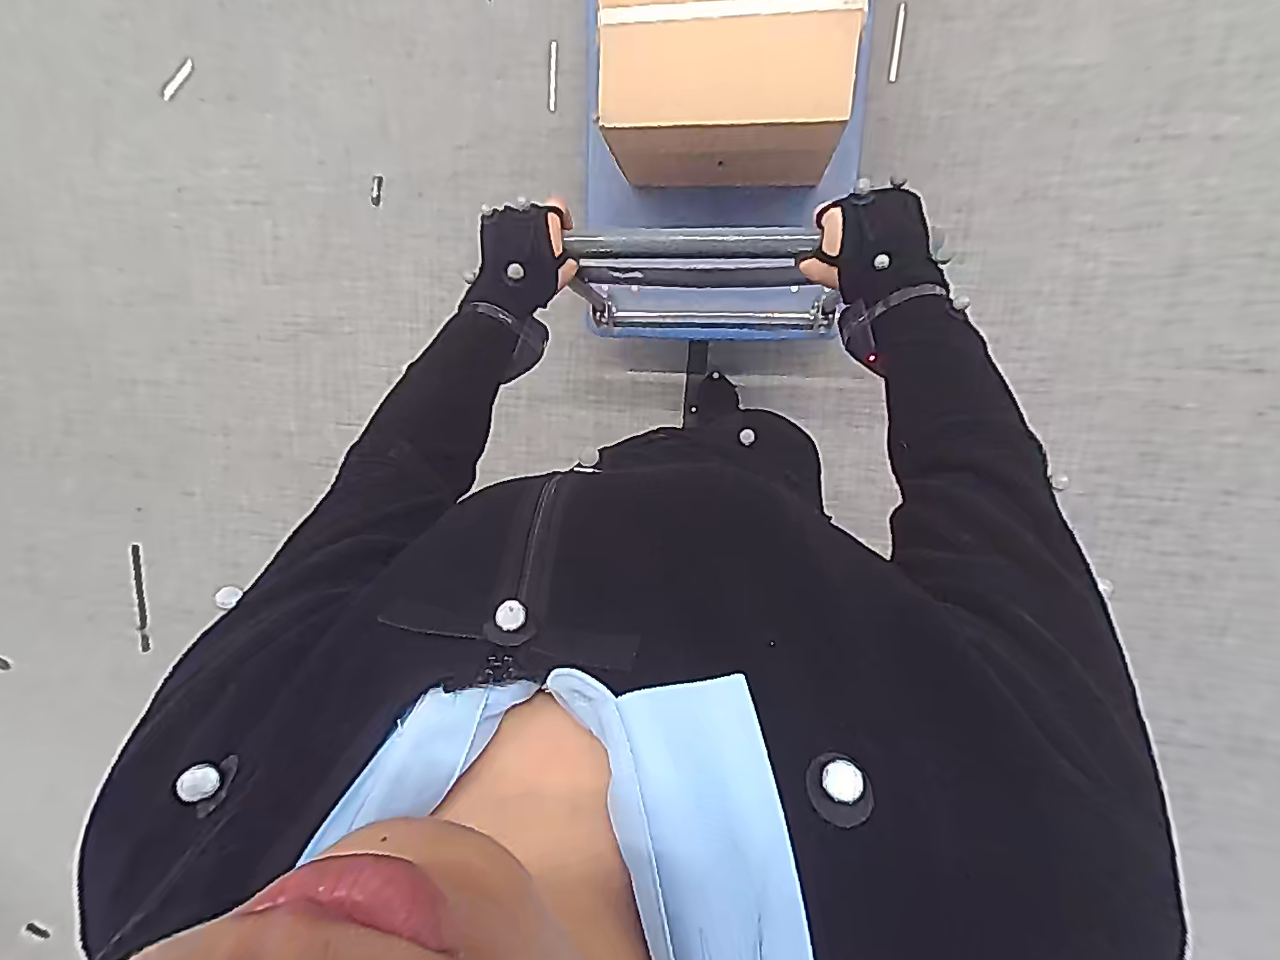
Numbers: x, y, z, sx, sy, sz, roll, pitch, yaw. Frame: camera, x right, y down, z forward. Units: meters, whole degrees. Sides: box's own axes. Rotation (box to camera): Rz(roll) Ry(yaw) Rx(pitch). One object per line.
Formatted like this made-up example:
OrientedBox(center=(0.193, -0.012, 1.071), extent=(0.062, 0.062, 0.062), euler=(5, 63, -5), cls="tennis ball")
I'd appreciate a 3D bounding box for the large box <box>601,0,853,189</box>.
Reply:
OrientedBox(center=(0.159, -0.758, 1.005), extent=(0.408, 0.320, 0.320), euler=(4, 101, 9), cls="large box")
